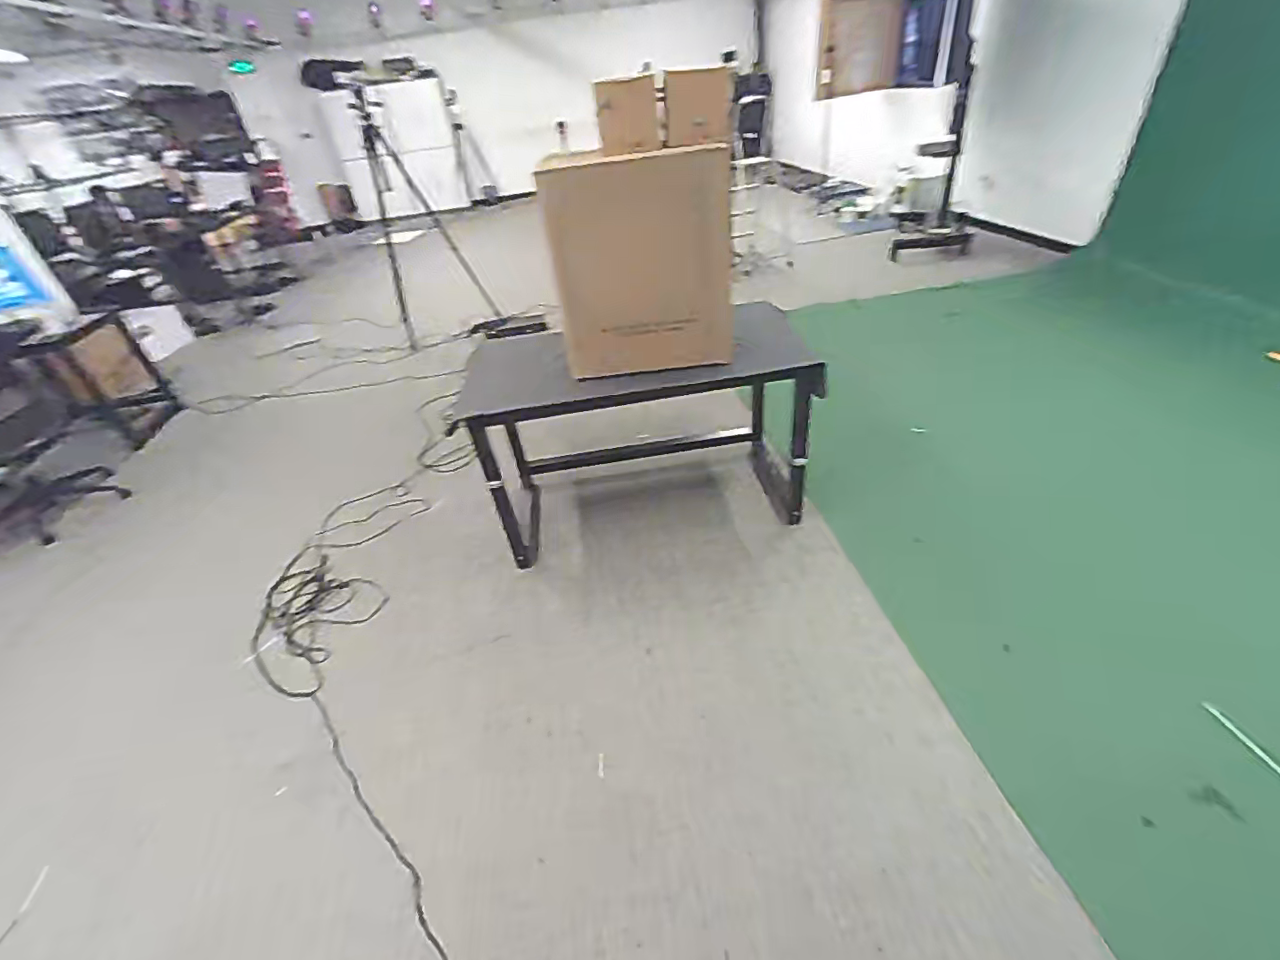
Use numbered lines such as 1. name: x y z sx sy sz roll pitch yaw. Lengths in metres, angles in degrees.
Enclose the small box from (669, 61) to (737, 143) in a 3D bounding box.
1. small box: 0.165 -1.023 1.464 0.168 0.176 0.179 -5 39 1
